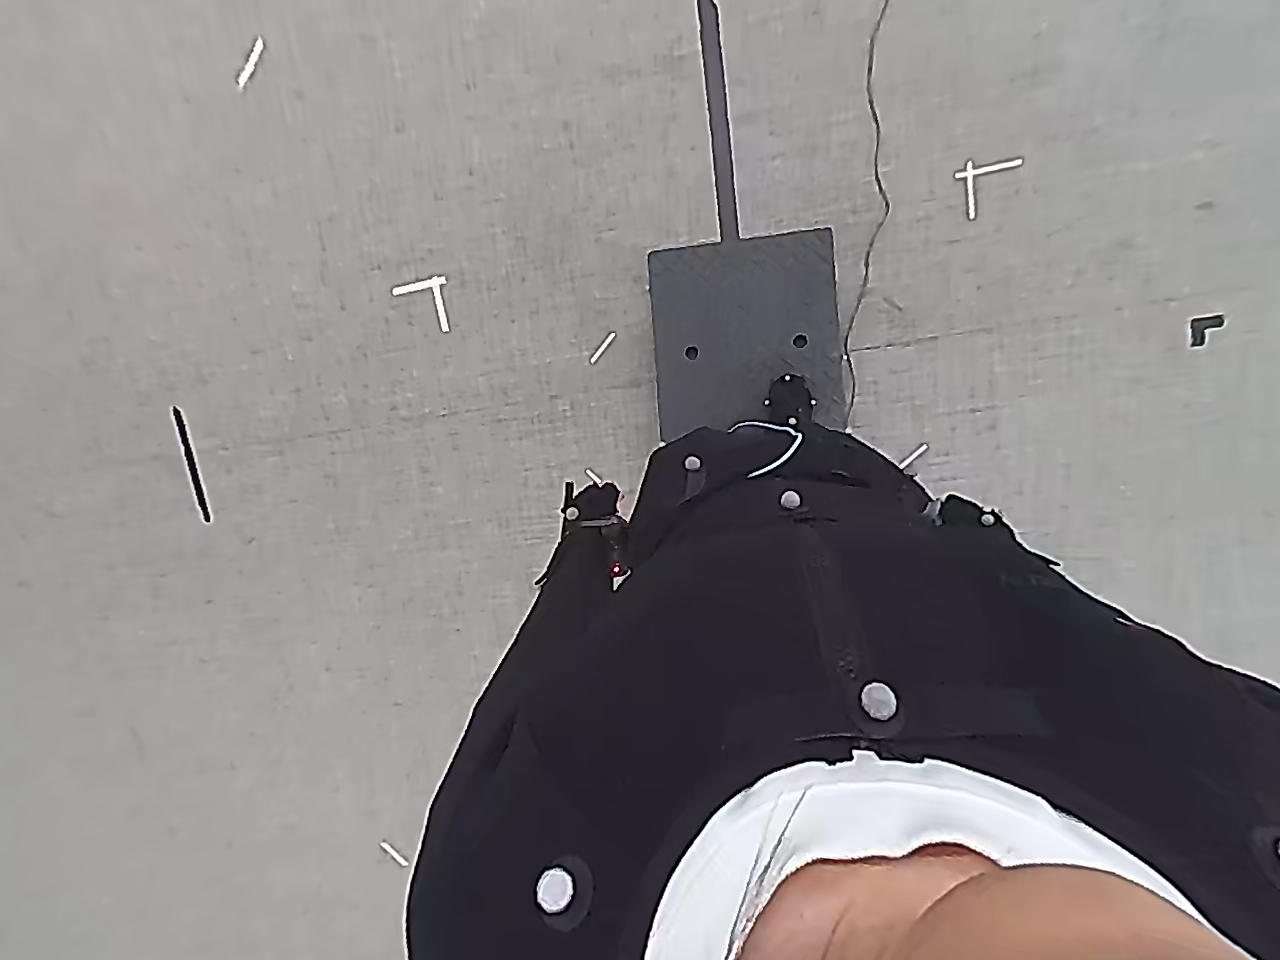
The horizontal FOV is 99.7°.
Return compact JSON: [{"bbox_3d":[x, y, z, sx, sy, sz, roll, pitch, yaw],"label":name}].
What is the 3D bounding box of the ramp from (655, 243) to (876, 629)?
[{"bbox_3d":[0.320,-0.115,1.453,0.509,0.206,0.991,-7,96,11],"label":"ramp"}]
